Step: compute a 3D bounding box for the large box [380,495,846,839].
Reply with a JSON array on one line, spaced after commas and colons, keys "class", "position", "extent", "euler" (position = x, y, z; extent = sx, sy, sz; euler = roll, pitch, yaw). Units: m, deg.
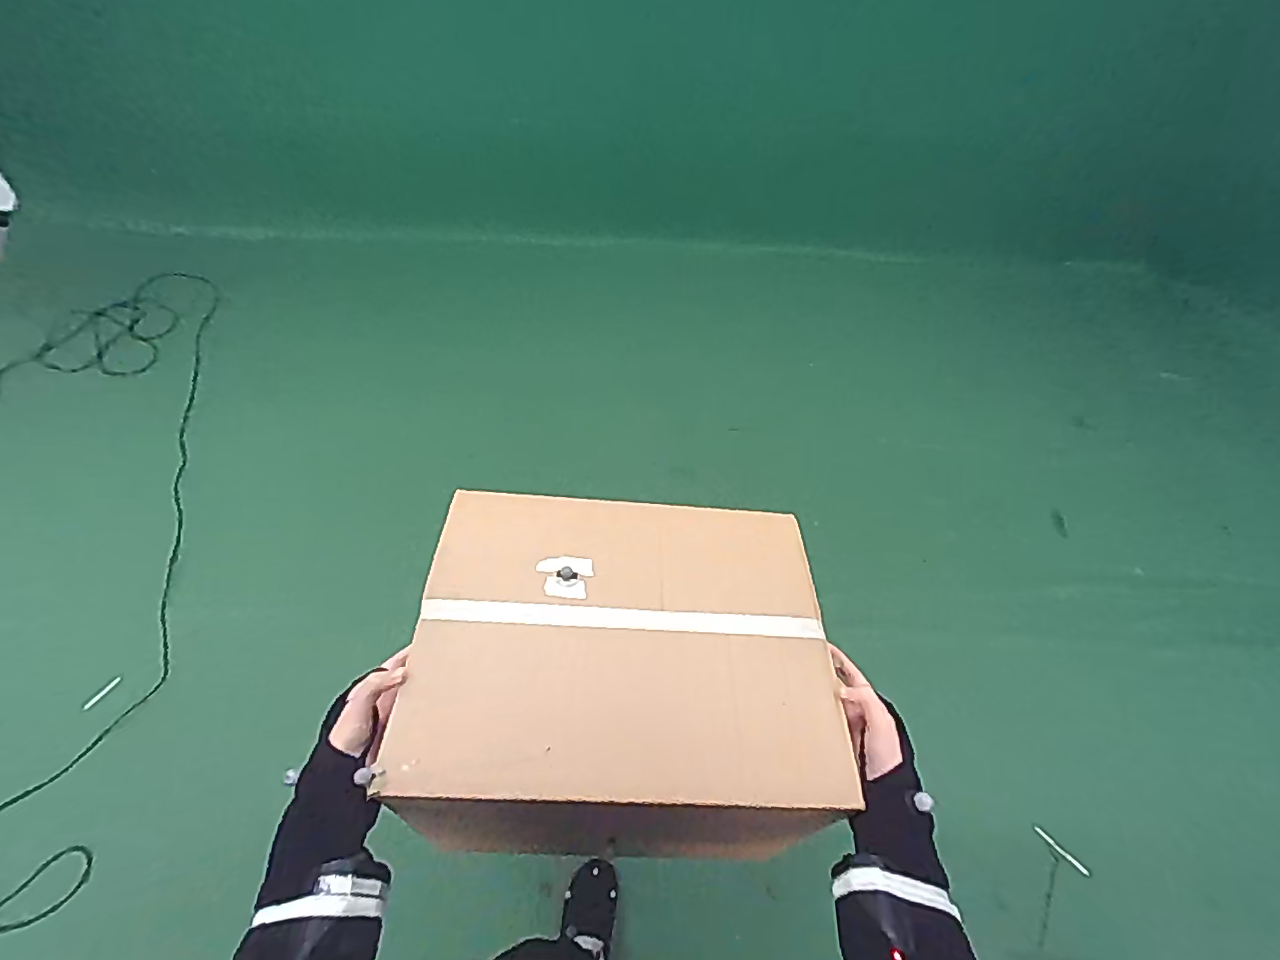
[{"class": "large box", "position": [-0.029, 0.241, 0.664], "extent": [0.408, 0.320, 0.320], "euler": [4, 49, -4]}]
